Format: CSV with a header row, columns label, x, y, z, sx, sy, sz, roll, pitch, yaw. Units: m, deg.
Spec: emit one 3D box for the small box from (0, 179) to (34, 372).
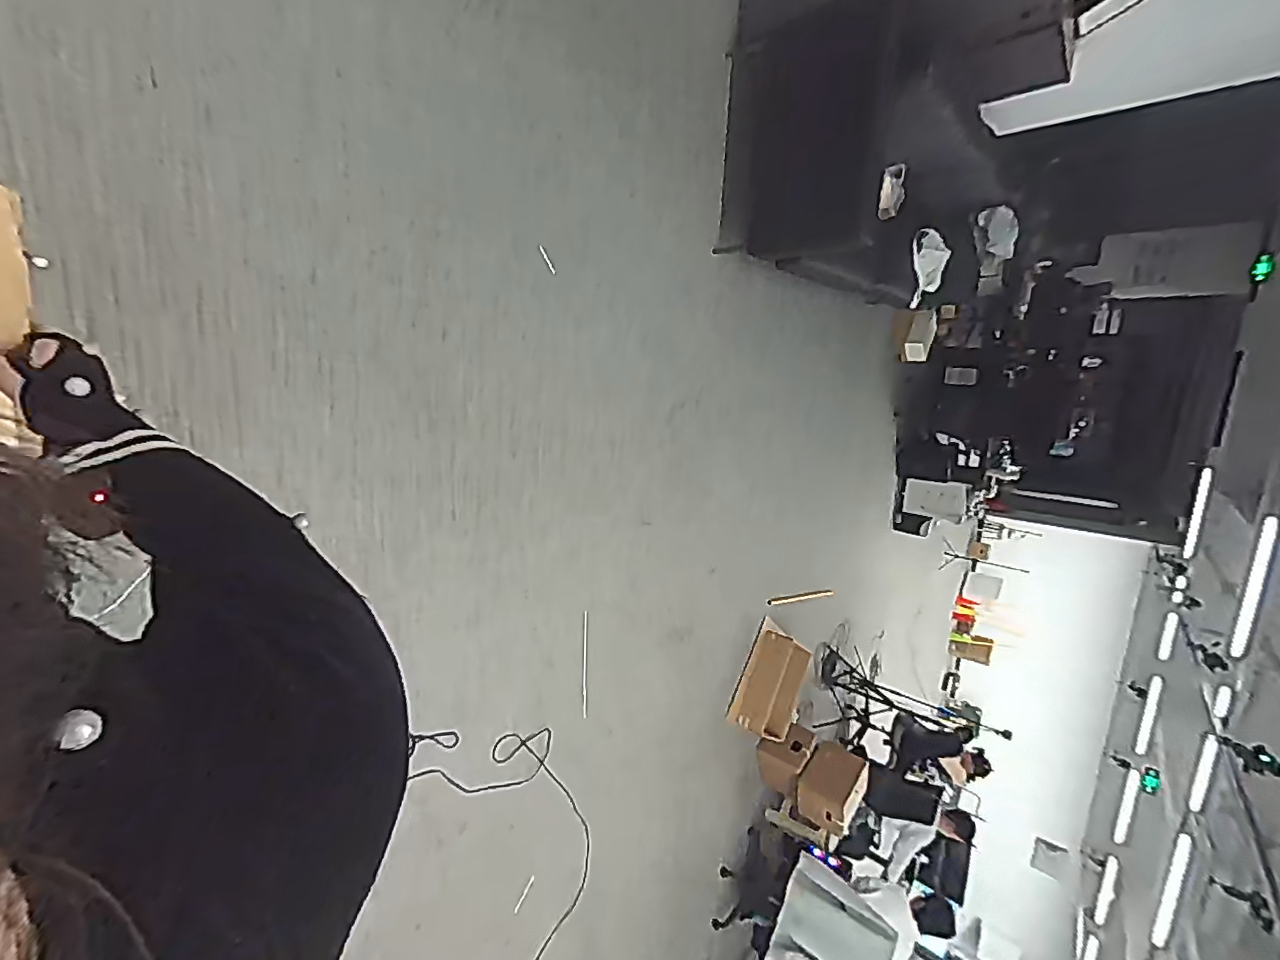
label,x,y,z,sx,sy,sz,roll,pitch,yaw
small box,-0.662,-0.185,0.466,0.179,0.176,0.168,-4,99,-49
